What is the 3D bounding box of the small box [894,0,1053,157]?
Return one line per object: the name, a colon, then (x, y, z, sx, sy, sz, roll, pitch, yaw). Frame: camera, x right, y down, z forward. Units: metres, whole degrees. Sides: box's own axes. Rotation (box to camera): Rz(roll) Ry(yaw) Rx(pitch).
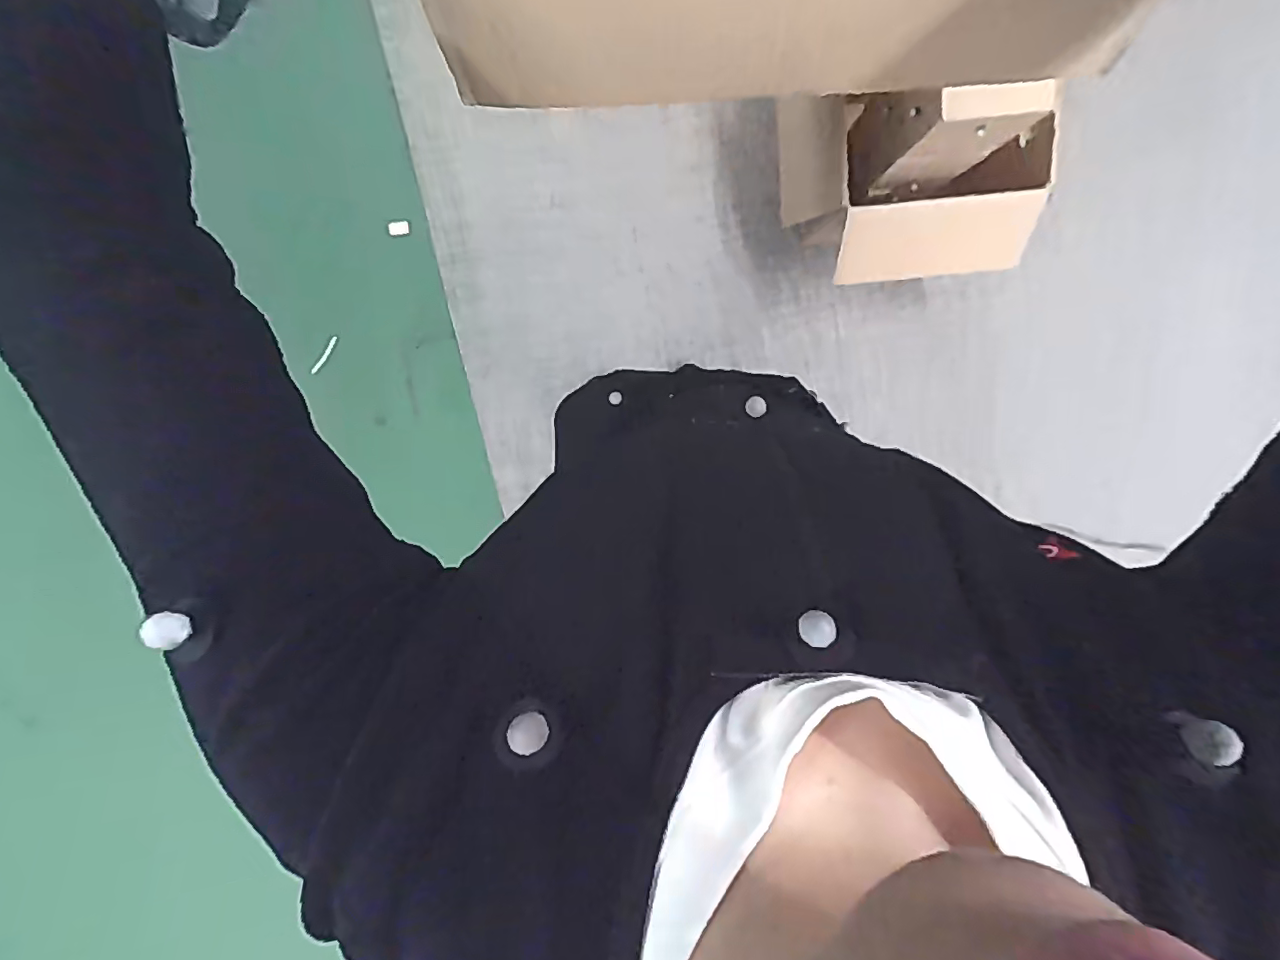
small box: (0.546, -0.669, 0.911, 0.179, 0.176, 0.168, -6, 102, 2)
